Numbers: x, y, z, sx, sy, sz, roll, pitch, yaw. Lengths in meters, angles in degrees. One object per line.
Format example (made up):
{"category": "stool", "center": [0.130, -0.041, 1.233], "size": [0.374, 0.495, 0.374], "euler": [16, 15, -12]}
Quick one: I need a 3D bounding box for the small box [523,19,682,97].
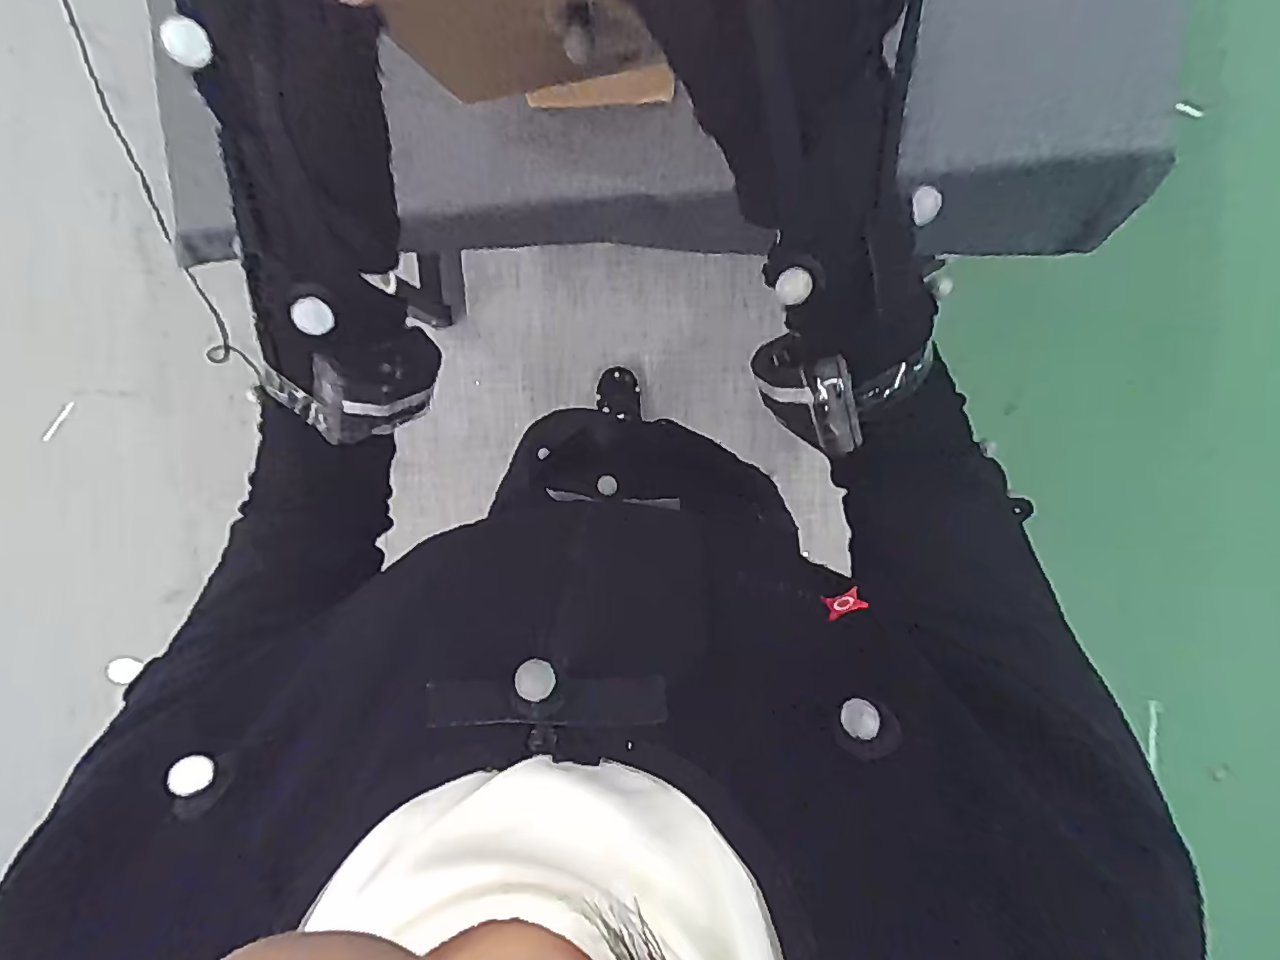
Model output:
{"category": "small box", "center": [-0.045, -0.533, 0.562], "size": [0.179, 0.176, 0.168], "euler": [-2, 96, 3]}

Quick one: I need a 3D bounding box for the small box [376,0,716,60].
{"category": "small box", "center": [-0.050, -0.298, 0.208], "size": [0.168, 0.176, 0.179], "euler": [-9, 110, 7]}
